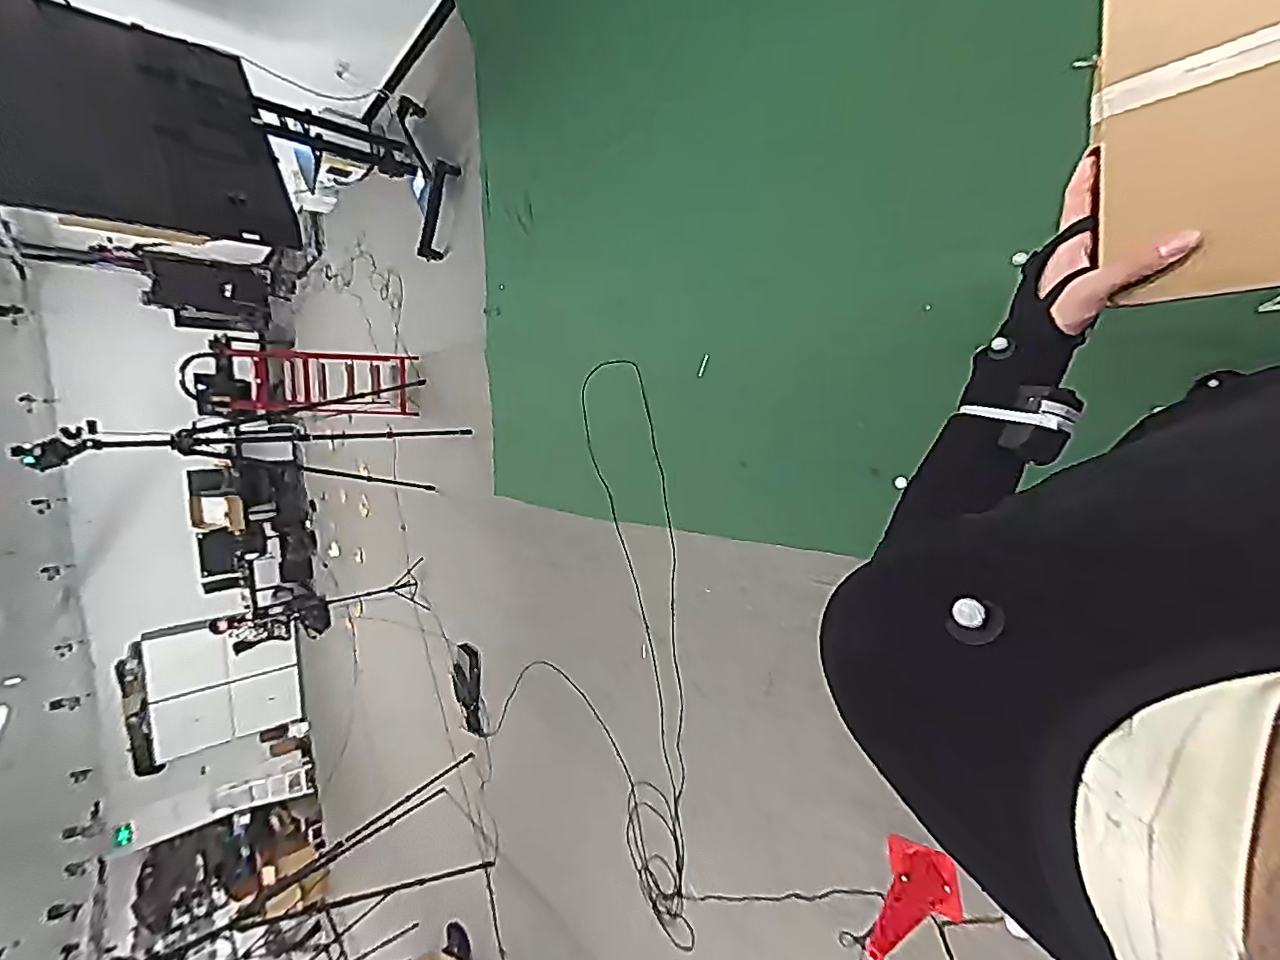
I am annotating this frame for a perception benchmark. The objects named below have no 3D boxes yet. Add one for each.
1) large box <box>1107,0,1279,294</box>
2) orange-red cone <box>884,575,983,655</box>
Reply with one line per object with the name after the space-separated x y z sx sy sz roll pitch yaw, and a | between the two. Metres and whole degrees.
0.607 -0.334 0.372 0.408 0.320 0.320 5 110 48 | large box
0.755 0.407 1.470 0.199 0.360 0.198 15 106 47 | orange-red cone
